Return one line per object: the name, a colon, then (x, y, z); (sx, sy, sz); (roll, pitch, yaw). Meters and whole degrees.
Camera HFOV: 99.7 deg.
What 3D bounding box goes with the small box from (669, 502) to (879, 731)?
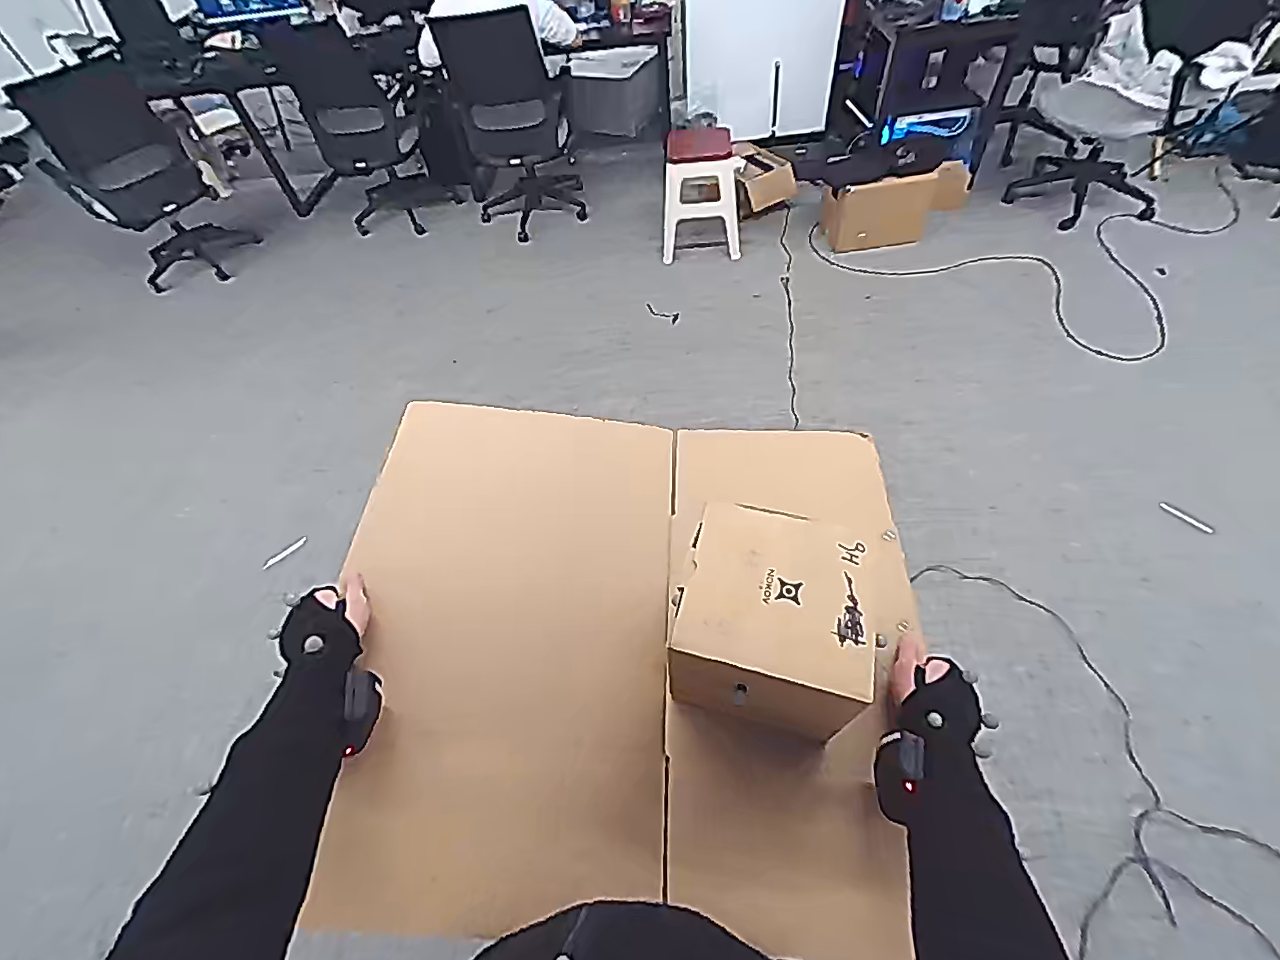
small box: (0.138, 0.149, 0.577); (0.179, 0.176, 0.168); (11, 57, 13)
